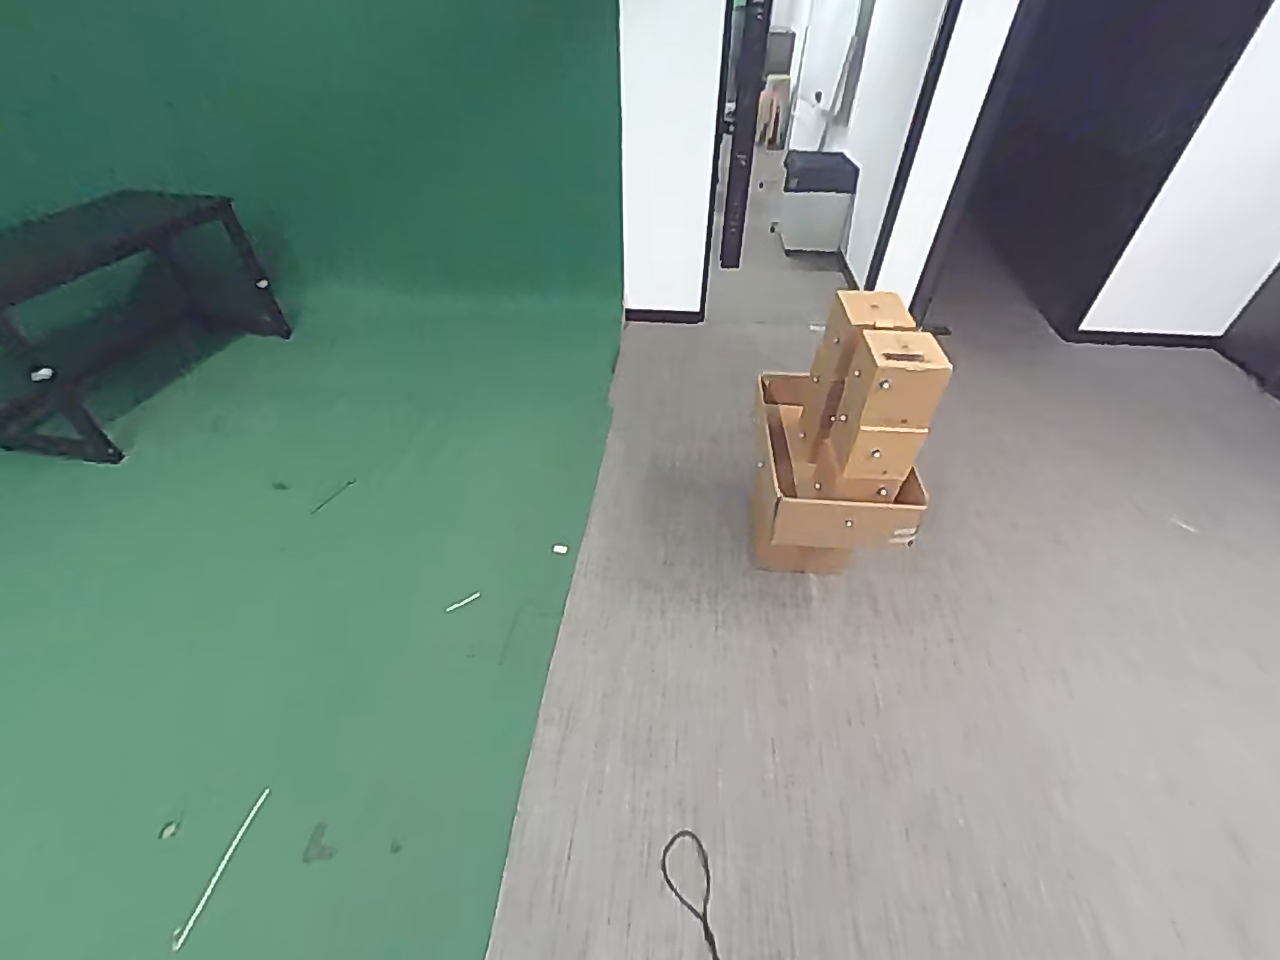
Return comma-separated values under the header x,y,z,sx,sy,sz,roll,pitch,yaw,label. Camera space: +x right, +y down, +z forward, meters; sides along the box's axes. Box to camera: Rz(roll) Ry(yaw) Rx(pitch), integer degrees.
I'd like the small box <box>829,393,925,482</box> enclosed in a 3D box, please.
x,y,z,sx,sy,sz,roll,pitch,yaw,label
0.612,-0.111,1.418,0.168,0.176,0.179,2,43,2,small box

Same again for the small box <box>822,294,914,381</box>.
x,y,z,sx,sy,sz,roll,pitch,yaw,label
0.611,-0.386,1.473,0.168,0.176,0.179,2,46,1,small box

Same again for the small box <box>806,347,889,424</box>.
x,y,z,sx,sy,sz,roll,pitch,yaw,label
0.603,-0.274,1.591,0.168,0.176,0.179,0,46,-1,small box
